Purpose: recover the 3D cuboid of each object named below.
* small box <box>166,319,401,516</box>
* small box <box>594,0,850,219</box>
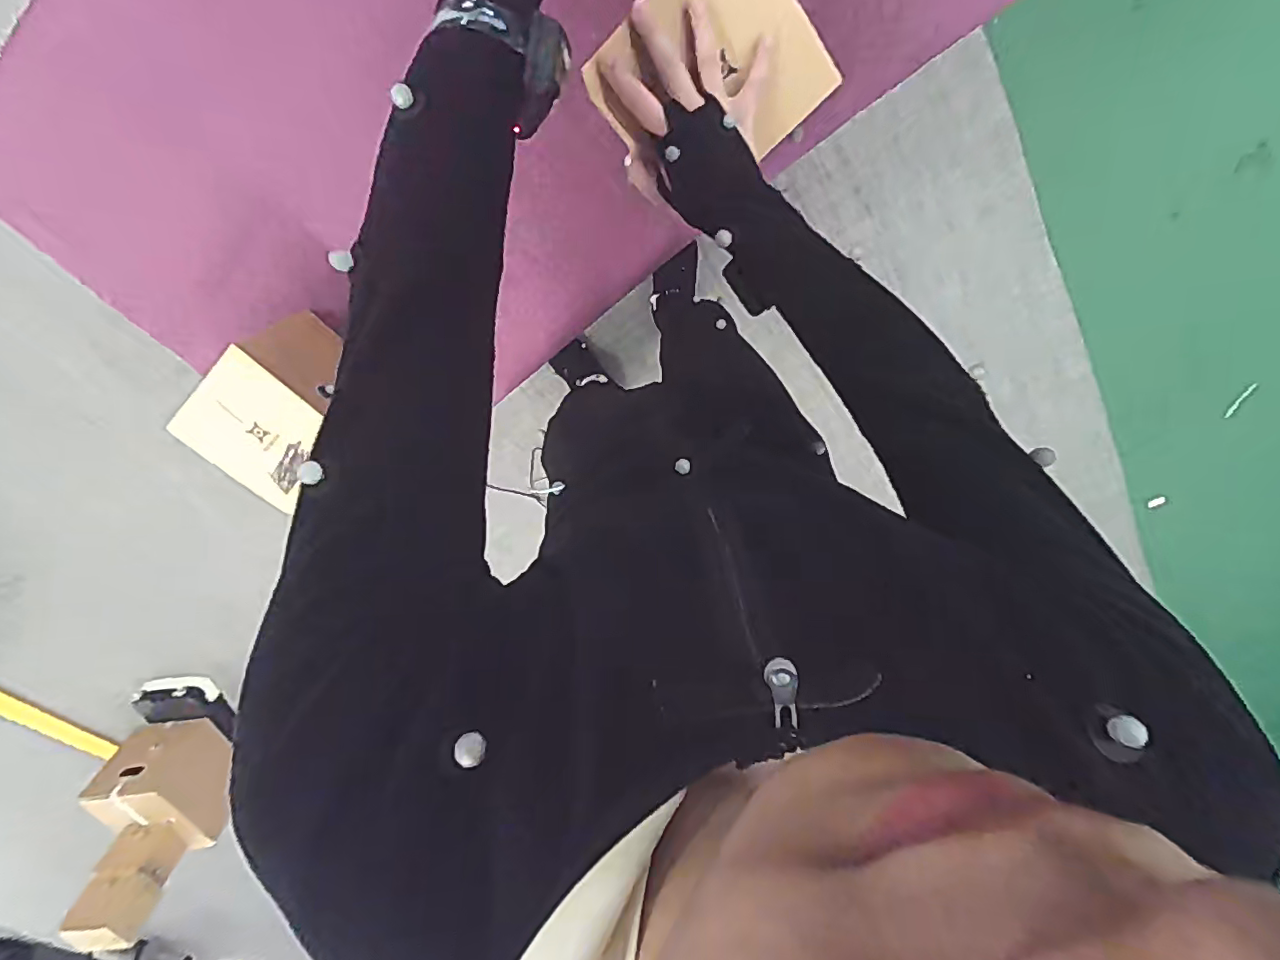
[{"bbox_3d":[-0.467,-0.091,0.740,0.168,0.176,0.179,-36,113,19],"label":"small box"},{"bbox_3d":[0.071,-0.399,0.548,0.179,0.176,0.168,-37,114,19],"label":"small box"}]
